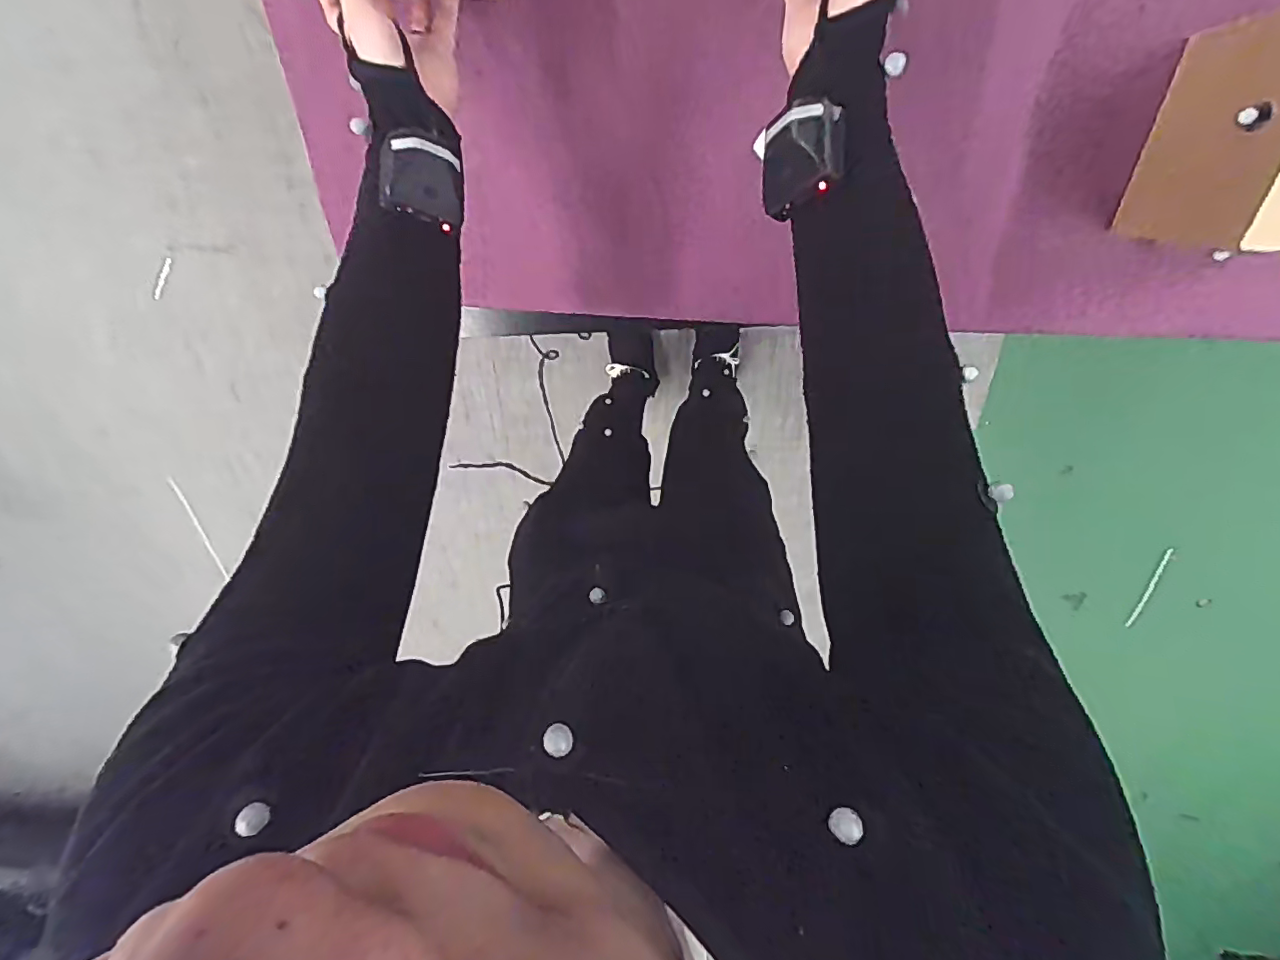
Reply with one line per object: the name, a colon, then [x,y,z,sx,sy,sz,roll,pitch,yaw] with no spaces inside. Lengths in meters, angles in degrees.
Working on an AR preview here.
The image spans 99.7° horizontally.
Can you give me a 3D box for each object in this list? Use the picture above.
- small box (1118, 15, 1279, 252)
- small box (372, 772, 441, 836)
small box: [0.592,-0.303,0.480,0.168,0.176,0.179,5,120,4]
small box: [-0.867,1.237,2.024,0.168,0.176,0.179,26,118,-11]
